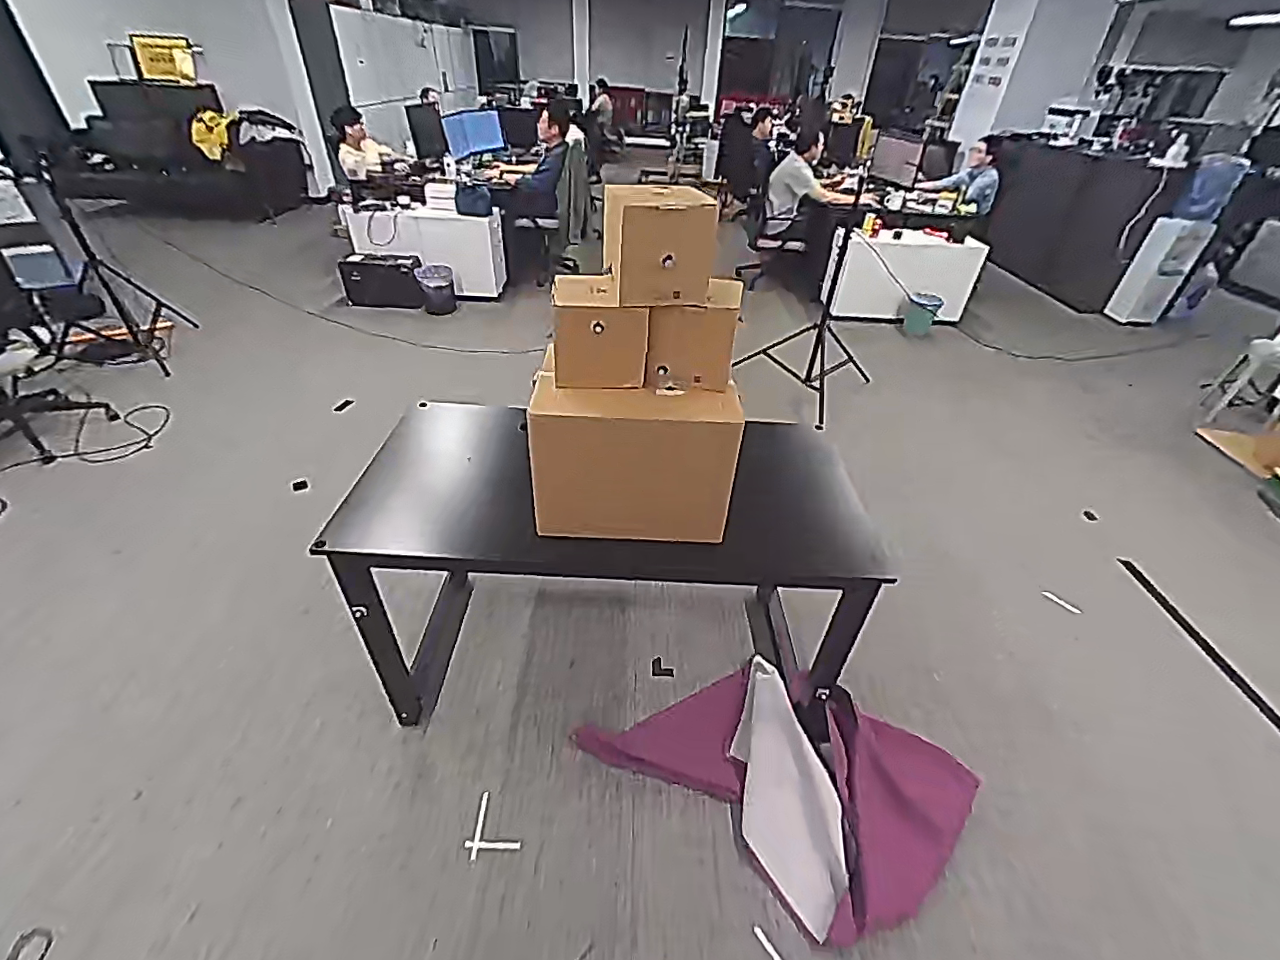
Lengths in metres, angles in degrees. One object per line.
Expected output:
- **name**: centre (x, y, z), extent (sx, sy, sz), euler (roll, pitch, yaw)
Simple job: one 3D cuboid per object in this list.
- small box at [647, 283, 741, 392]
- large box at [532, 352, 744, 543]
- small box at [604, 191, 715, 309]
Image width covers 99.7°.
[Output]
- **small box**: centre (0.109, -0.295, 1.103), extent (0.168, 0.176, 0.179), euler (9, 36, 7)
- **large box**: centre (-0.017, -0.074, 1.204), extent (0.408, 0.320, 0.320), euler (2, 38, -3)
- **small box**: centre (0.027, -0.423, 0.995), extent (0.168, 0.176, 0.179), euler (-5, 39, -12)
